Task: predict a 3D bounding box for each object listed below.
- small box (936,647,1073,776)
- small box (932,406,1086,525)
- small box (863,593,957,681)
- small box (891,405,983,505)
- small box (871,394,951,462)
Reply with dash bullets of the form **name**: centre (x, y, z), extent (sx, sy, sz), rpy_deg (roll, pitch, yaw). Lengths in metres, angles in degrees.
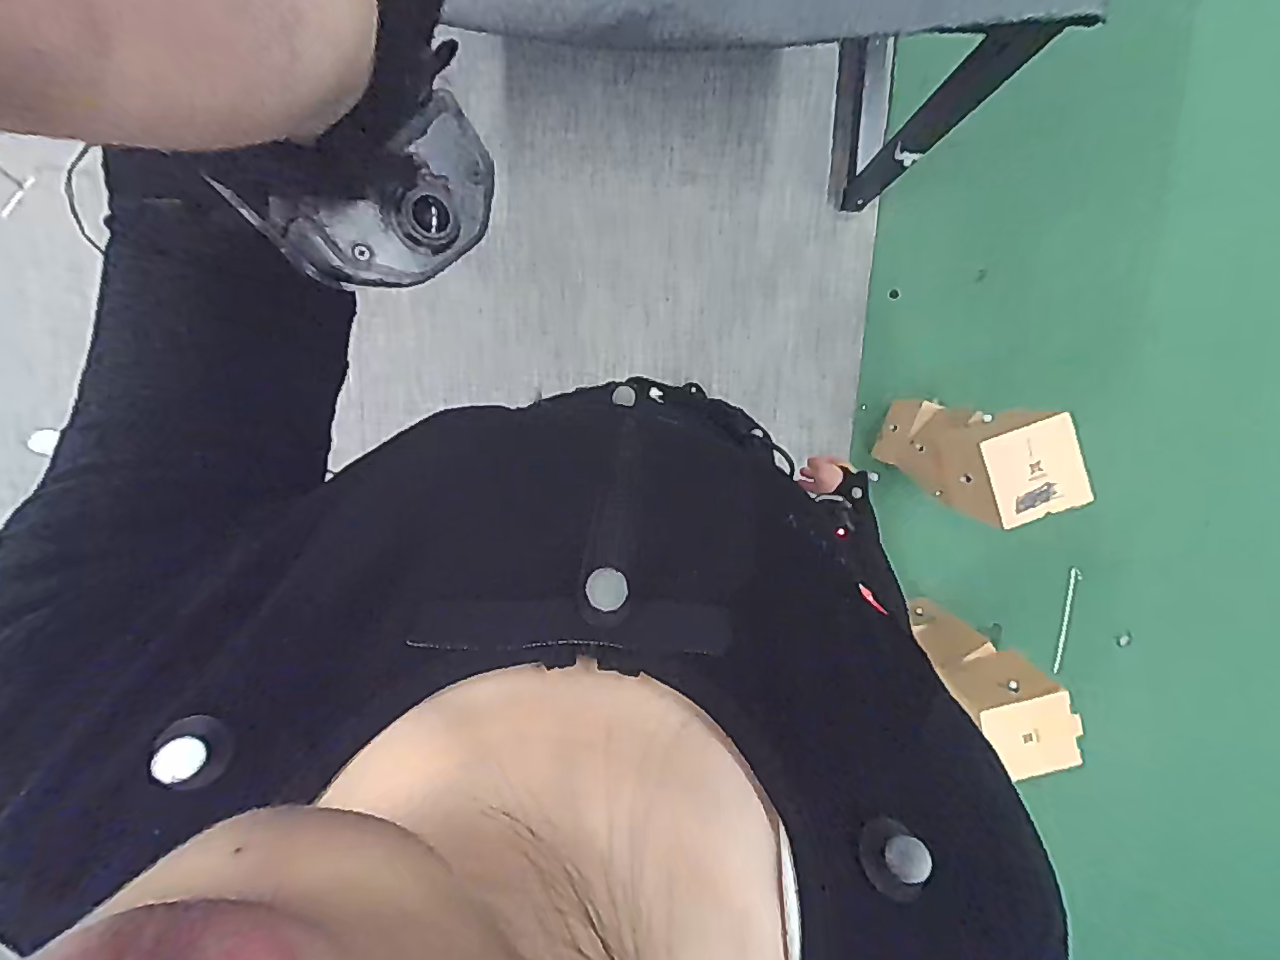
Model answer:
- **small box**: centre (0.752, 0.478, 1.139), extent (0.179, 0.176, 0.168), rpy_deg (-17, 99, 4)
- **small box**: centre (0.708, -0.035, 1.054), extent (0.168, 0.176, 0.179), rpy_deg (-20, 98, 5)
- **small box**: centre (0.724, 0.417, 1.461), extent (0.179, 0.176, 0.168), rpy_deg (-7, 100, 1)
- **small box**: centre (0.710, -0.054, 1.218), extent (0.179, 0.176, 0.168), rpy_deg (39, 99, -6)
- **small box**: centre (0.719, -0.112, 1.372), extent (0.179, 0.176, 0.168), rpy_deg (19, 100, -3)
